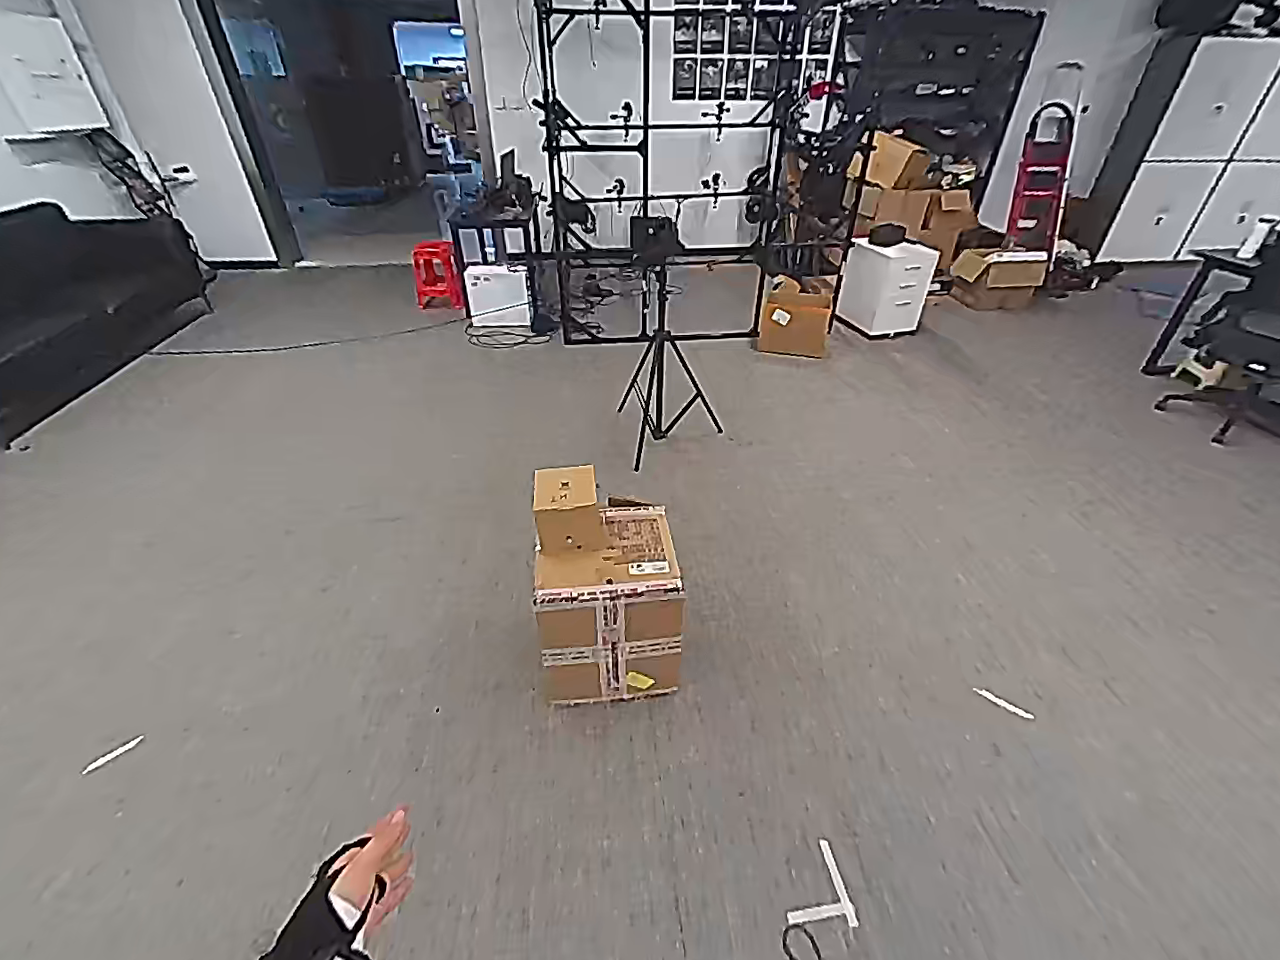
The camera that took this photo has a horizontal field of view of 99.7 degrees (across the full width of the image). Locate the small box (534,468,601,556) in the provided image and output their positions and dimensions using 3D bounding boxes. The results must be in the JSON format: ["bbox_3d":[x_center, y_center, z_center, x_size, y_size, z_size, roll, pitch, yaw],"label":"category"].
[{"bbox_3d":[-0.200,0.089,1.505,0.168,0.176,0.179,-6,39,-5],"label":"small box"}]
